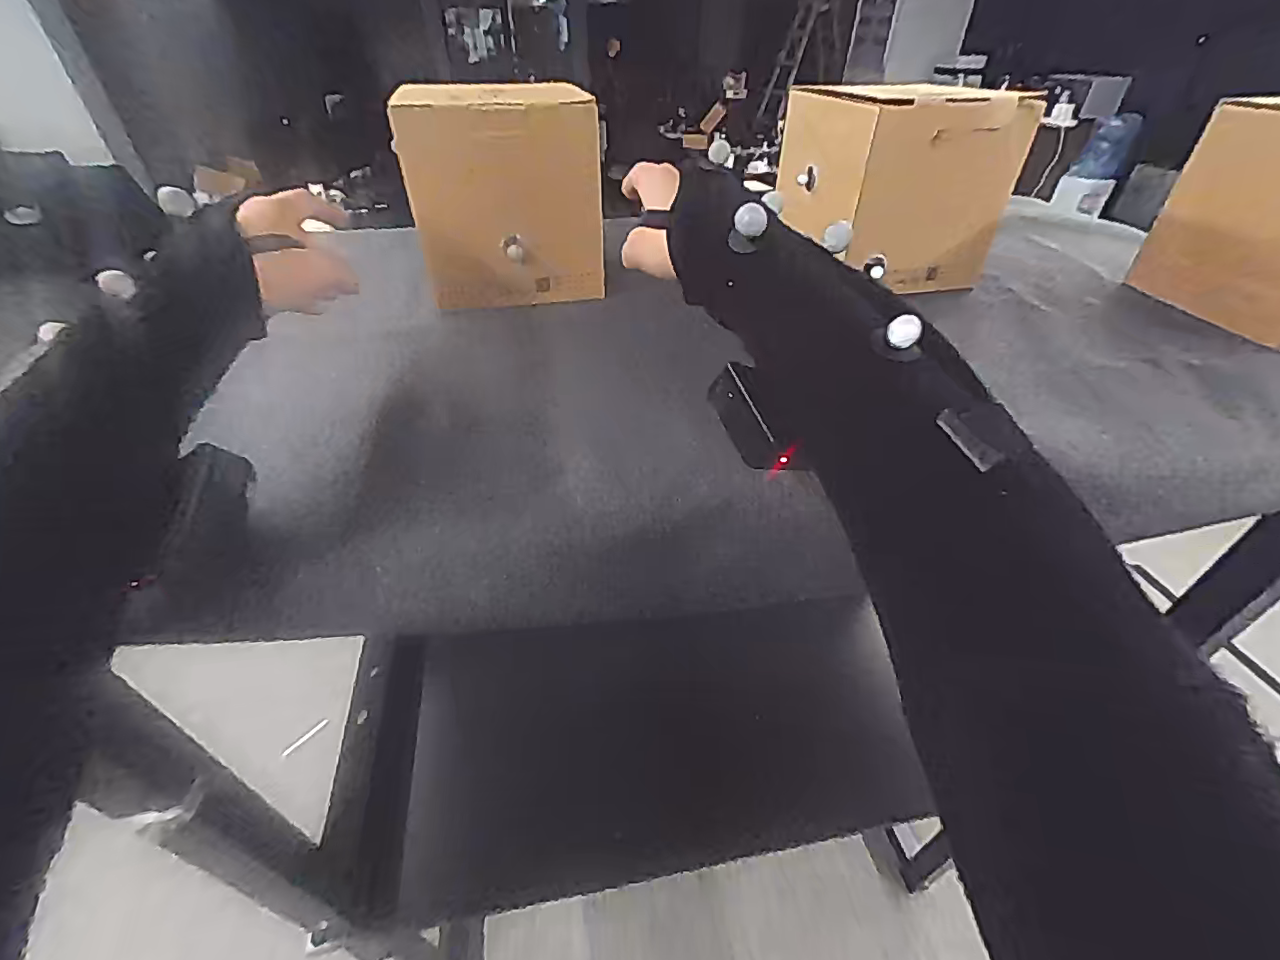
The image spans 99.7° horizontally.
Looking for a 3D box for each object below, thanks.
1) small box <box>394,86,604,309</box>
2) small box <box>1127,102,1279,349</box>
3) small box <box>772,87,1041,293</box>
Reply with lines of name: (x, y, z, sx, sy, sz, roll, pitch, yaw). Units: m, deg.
small box: (-0.133, -0.287, 0.547, 0.168, 0.176, 0.179, -9, 41, -11)
small box: (0.610, -0.228, 0.483, 0.168, 0.176, 0.179, -4, 40, -5)
small box: (0.258, -0.307, 0.576, 0.168, 0.176, 0.179, -8, 40, -11)
